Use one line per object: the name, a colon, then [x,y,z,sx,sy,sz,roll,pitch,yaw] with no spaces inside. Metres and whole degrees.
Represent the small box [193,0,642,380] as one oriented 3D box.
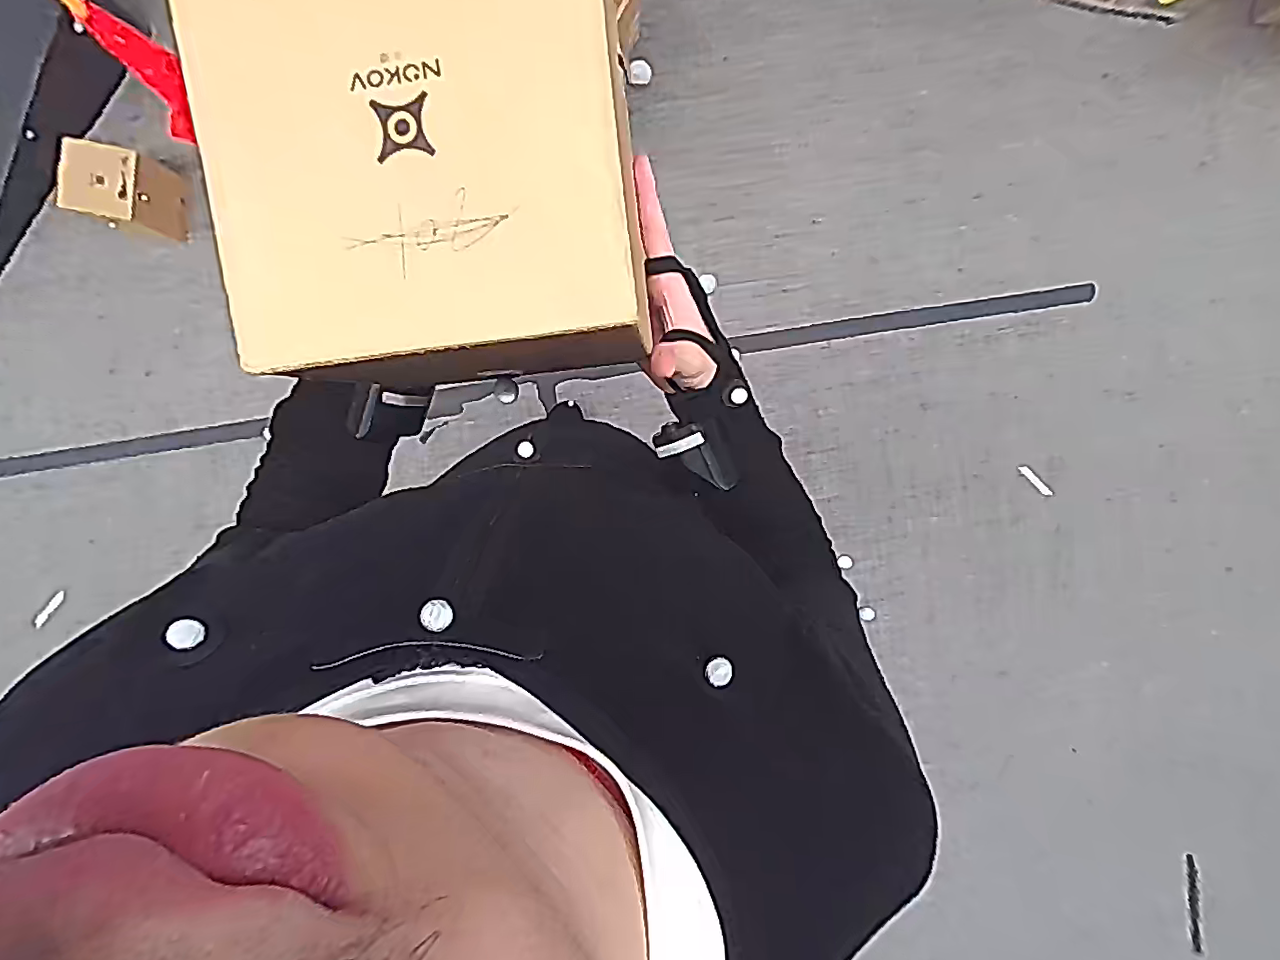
small box: [-0.089,-0.154,0.298,0.168,0.176,0.179,-5,97,4]
